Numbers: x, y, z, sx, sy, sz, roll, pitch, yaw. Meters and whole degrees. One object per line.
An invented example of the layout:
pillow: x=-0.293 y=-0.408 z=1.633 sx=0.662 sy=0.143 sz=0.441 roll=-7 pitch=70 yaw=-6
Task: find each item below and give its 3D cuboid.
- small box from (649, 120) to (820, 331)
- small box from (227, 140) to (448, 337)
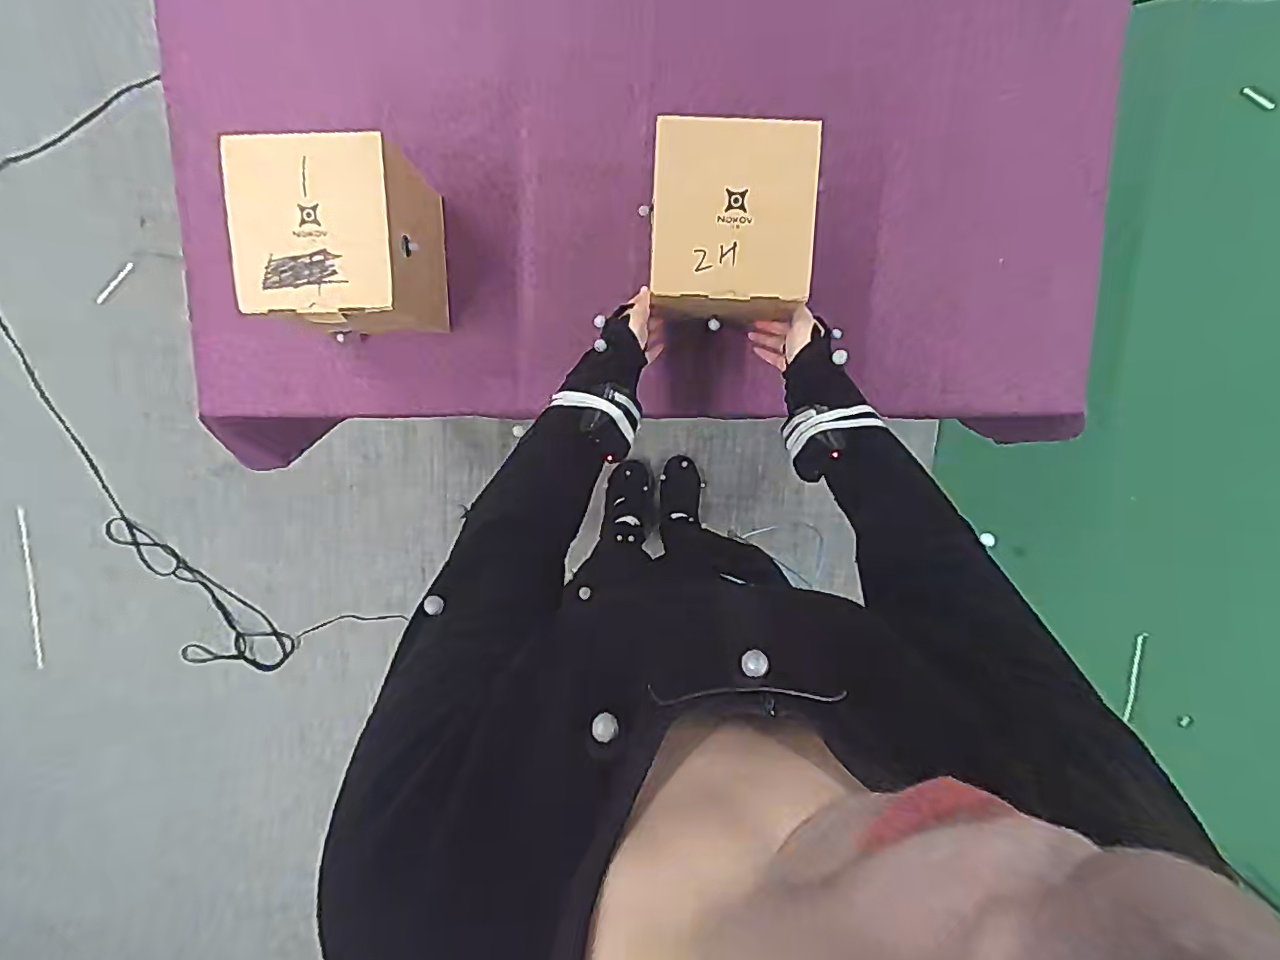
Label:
small box: x=0.097 y=-0.280 z=0.629 sx=0.168 sy=0.176 sz=0.179 roll=3 pitch=97 yaw=1
small box: x=-0.337 y=-0.267 z=0.638 sx=0.168 sy=0.176 sz=0.179 roll=-1 pitch=96 yaw=0
